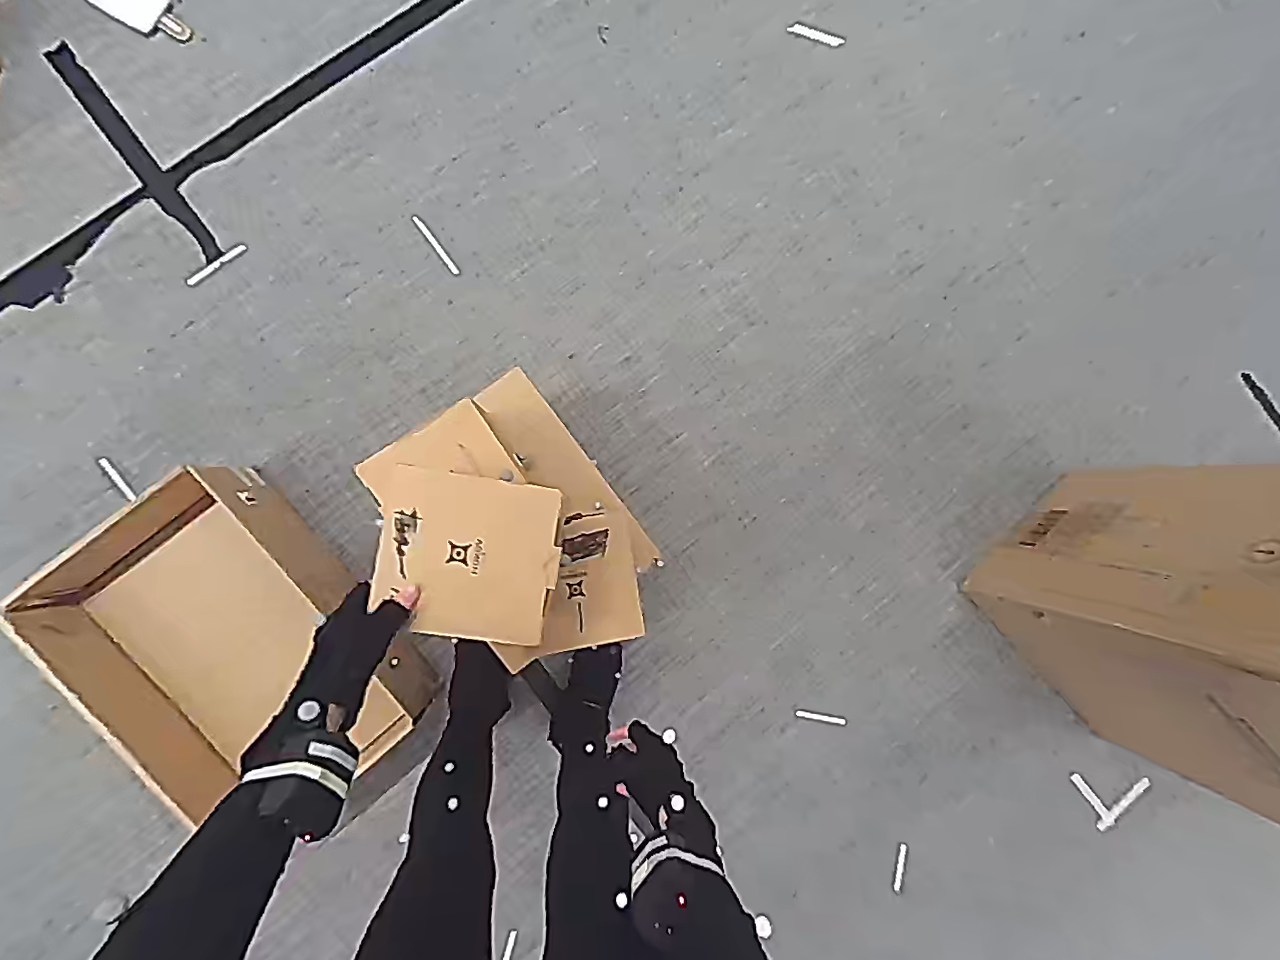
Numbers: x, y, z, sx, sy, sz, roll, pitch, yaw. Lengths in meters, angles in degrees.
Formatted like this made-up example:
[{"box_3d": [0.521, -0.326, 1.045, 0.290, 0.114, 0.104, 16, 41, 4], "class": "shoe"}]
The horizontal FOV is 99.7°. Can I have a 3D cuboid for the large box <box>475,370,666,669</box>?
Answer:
[{"box_3d": [-0.213, 0.065, 1.031, 0.320, 0.320, 0.408, -38, 94, -5], "class": "large box"}]

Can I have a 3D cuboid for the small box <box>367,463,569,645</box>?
[{"box_3d": [-0.181, 0.078, 0.624, 0.179, 0.176, 0.168, 9, 86, -6], "class": "small box"}]

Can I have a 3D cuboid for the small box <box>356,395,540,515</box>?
[{"box_3d": [-0.260, 0.003, 0.783, 0.179, 0.176, 0.168, -35, 94, -7], "class": "small box"}]

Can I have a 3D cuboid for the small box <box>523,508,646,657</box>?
[{"box_3d": [-0.092, 0.138, 0.796, 0.168, 0.176, 0.179, -9, 90, -6], "class": "small box"}]
